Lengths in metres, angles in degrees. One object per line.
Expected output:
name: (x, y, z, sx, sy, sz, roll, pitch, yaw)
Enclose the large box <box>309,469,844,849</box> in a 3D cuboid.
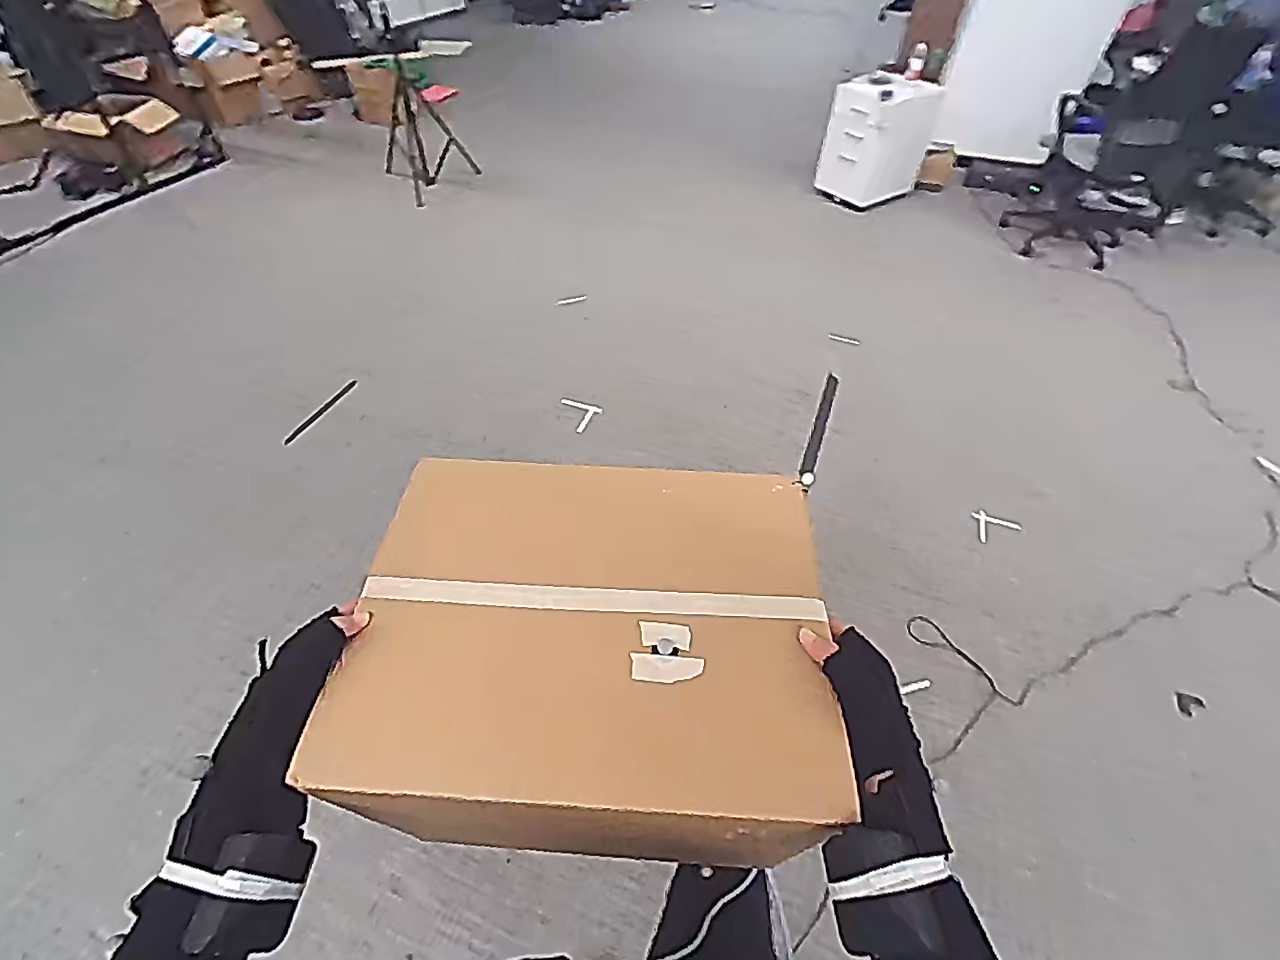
large box: (-0.046, 0.205, 0.603, 0.408, 0.320, 0.320, 2, 51, 1)
